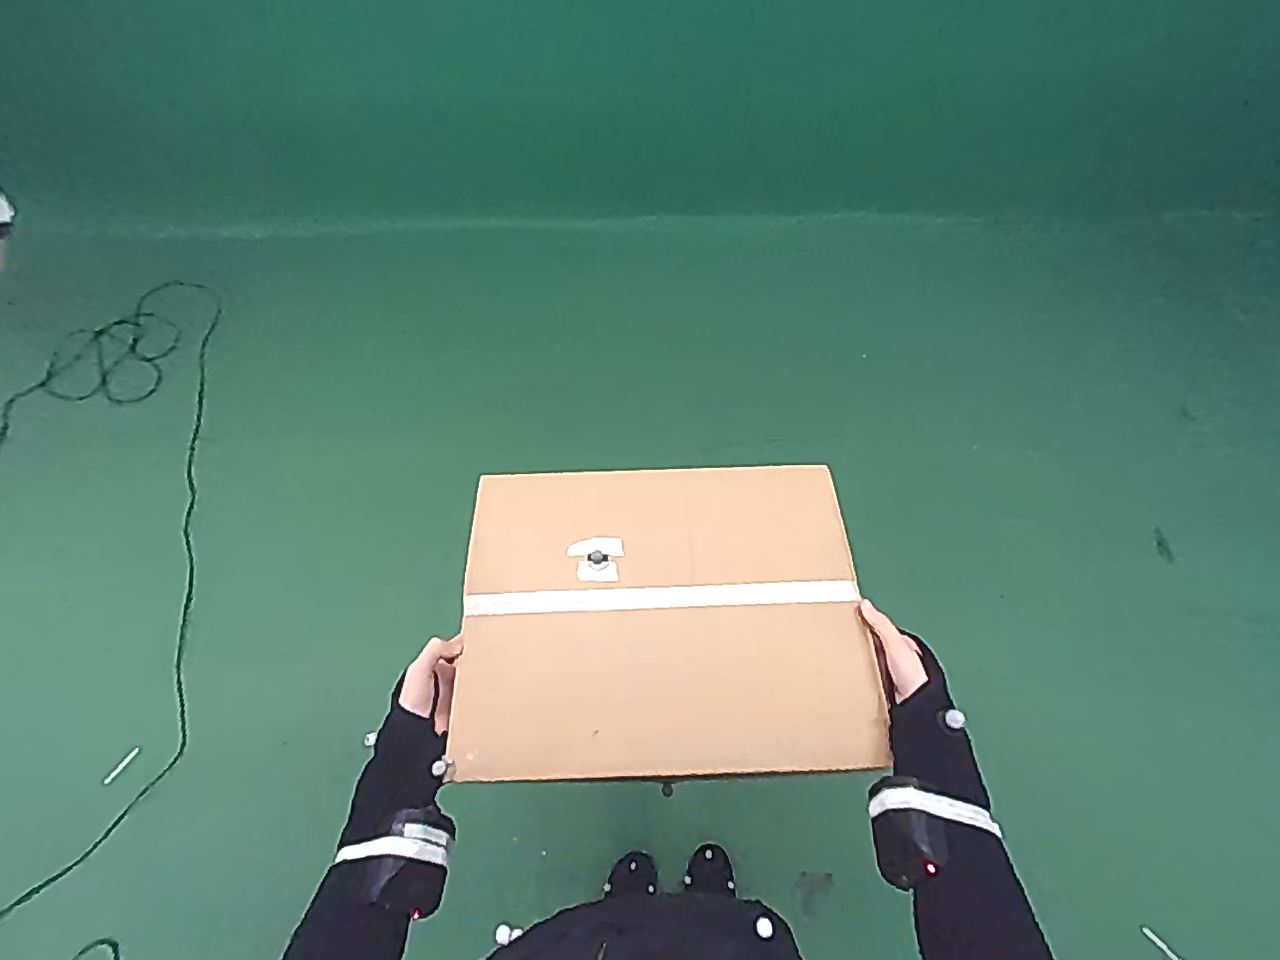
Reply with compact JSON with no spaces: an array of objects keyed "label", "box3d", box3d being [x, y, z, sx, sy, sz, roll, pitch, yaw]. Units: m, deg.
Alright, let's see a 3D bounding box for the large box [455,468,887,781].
[{"label":"large box","box3d":[0.028,0.201,0.693,0.408,0.320,0.320,-3,59,1]}]
